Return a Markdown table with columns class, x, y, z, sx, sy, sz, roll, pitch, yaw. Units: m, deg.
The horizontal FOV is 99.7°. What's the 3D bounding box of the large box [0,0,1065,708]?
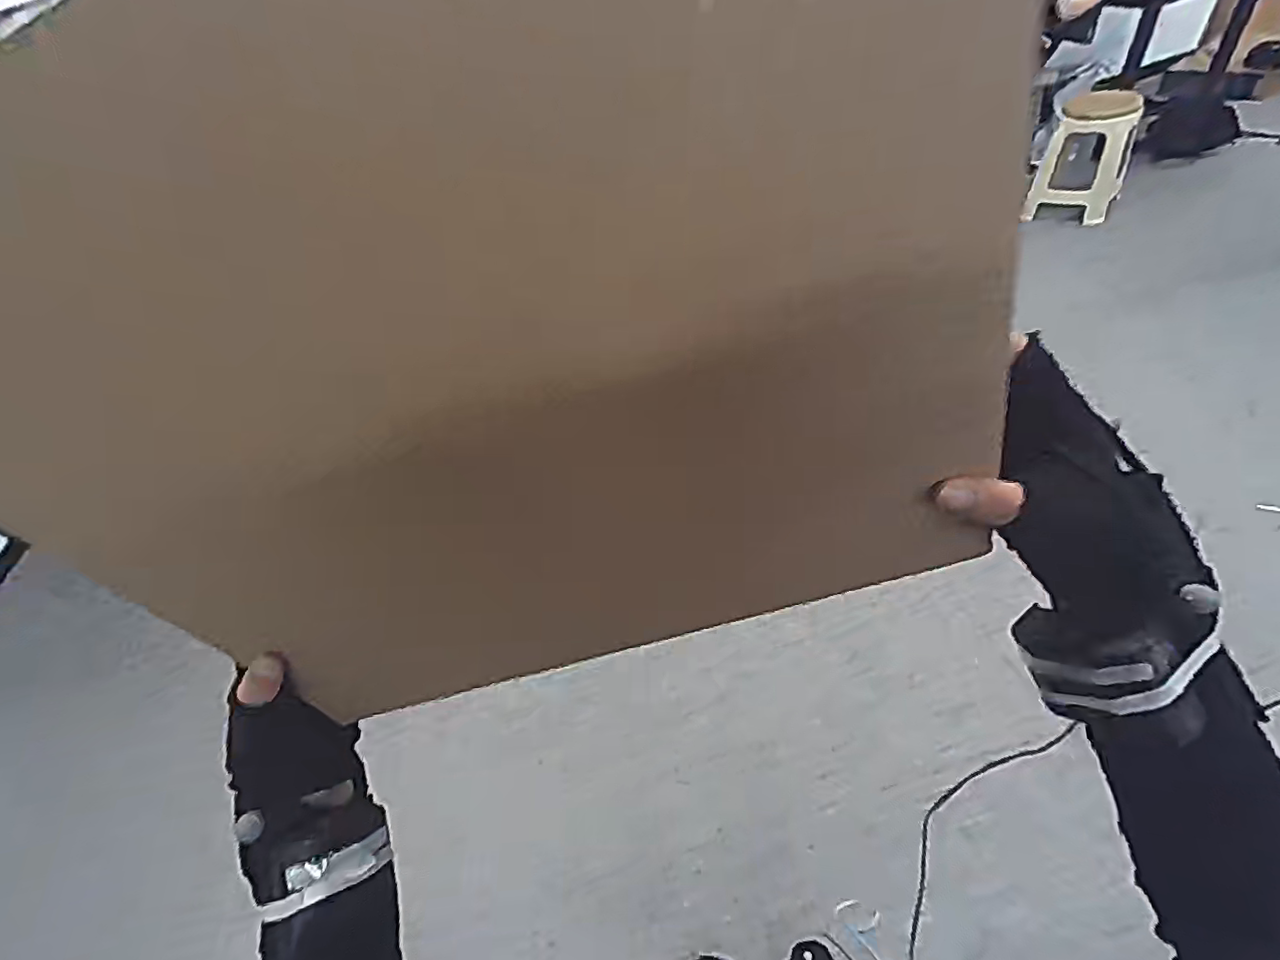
| class | x | y | z | sx | sy | sz | roll | pitch | yaw |
| --- | --- | --- | --- | --- | --- | --- | --- | --- | --- |
| large box | -0.057 | -0.111 | 0.337 | 0.408 | 0.320 | 0.320 | -17 | 41 | 9 |
